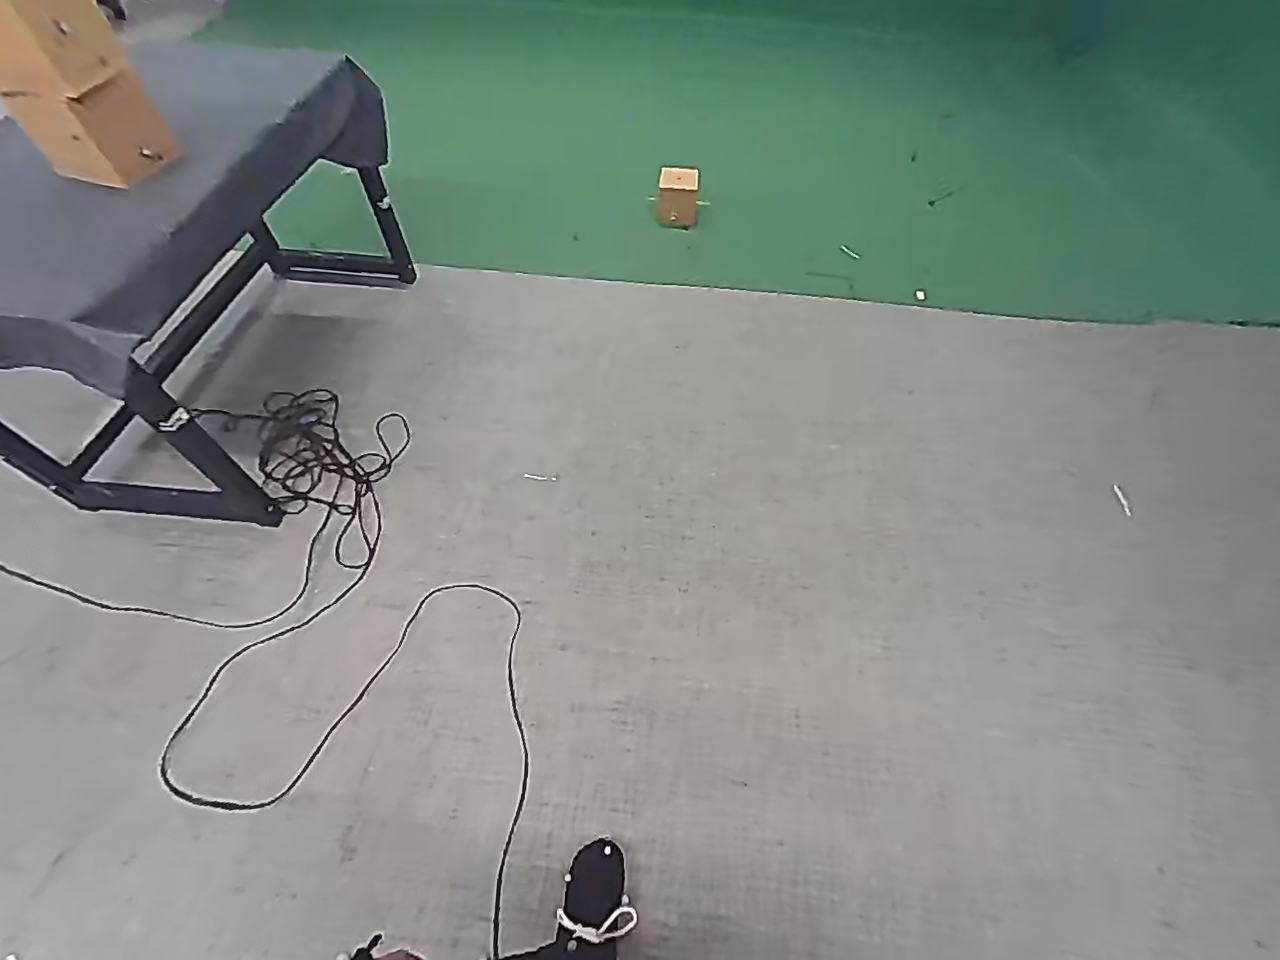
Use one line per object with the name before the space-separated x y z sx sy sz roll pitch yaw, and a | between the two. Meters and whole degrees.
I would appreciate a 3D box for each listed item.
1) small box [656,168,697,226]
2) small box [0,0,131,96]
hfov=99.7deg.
small box | 0.162 -1.267 2.421 0.168 0.176 0.179 4 56 2
small box | -1.109 -0.829 0.984 0.179 0.176 0.168 7 56 3
